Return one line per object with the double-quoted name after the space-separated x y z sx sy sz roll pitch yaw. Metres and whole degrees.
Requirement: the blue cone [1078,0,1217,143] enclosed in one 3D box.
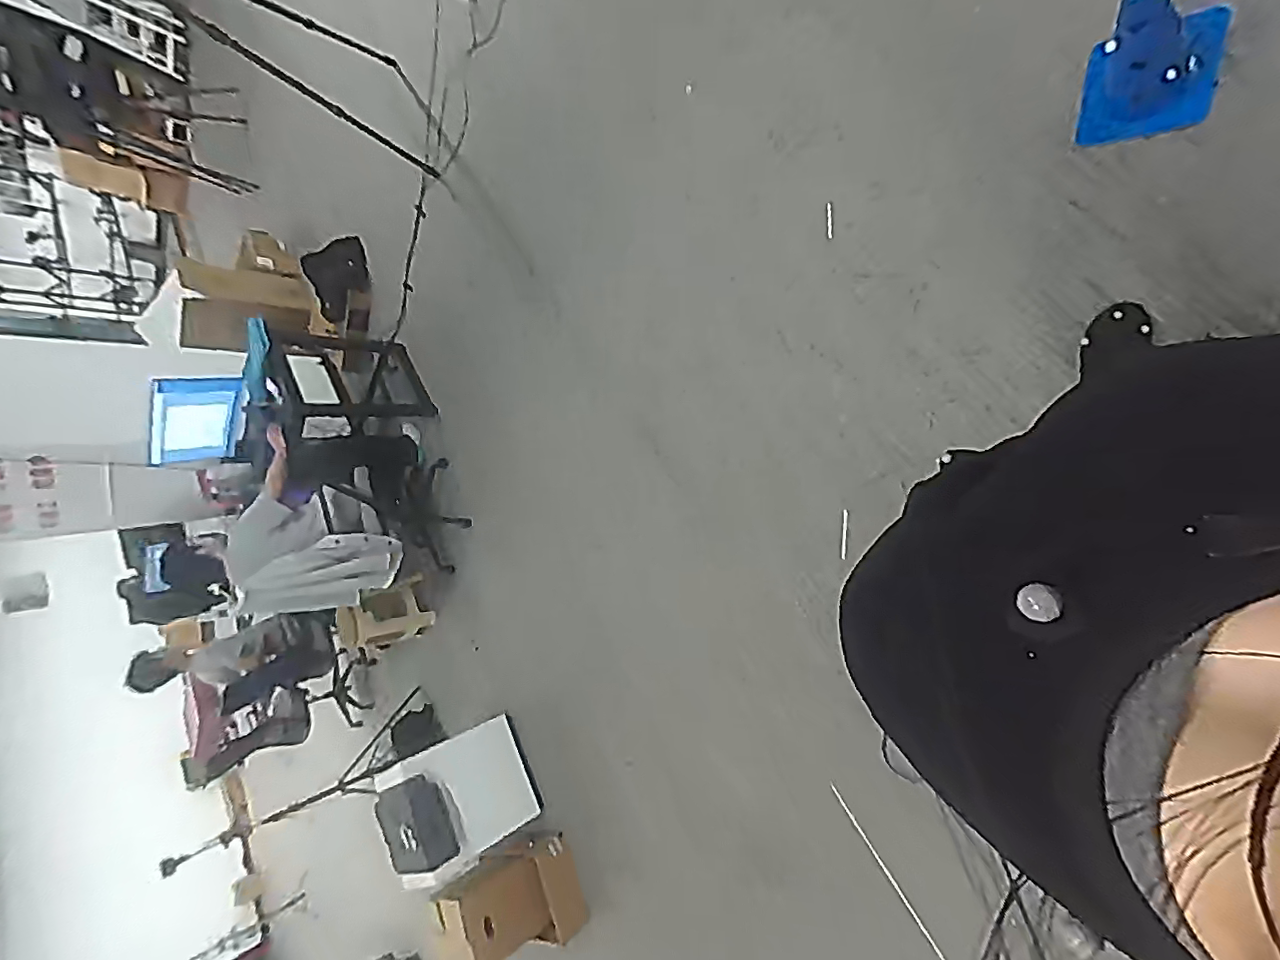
0.865 -0.758 0.939 0.193 0.380 0.192 10 104 43 "blue cone"
